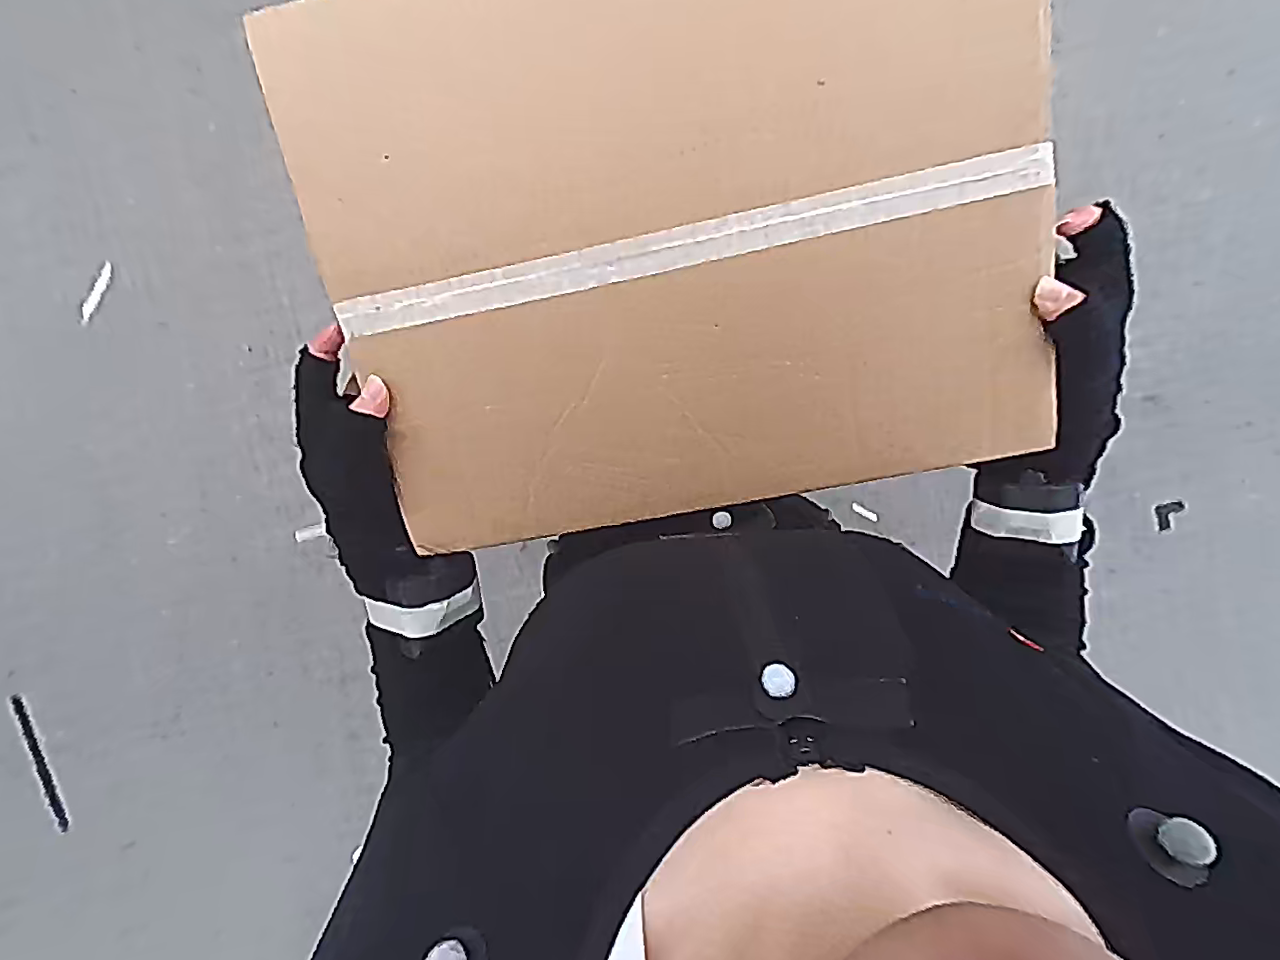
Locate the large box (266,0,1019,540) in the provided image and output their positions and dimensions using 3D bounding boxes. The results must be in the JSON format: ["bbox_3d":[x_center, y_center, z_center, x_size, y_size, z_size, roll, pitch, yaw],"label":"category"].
[{"bbox_3d":[0.022,-0.179,0.461,0.408,0.320,0.320,-10,104,5],"label":"large box"}]
